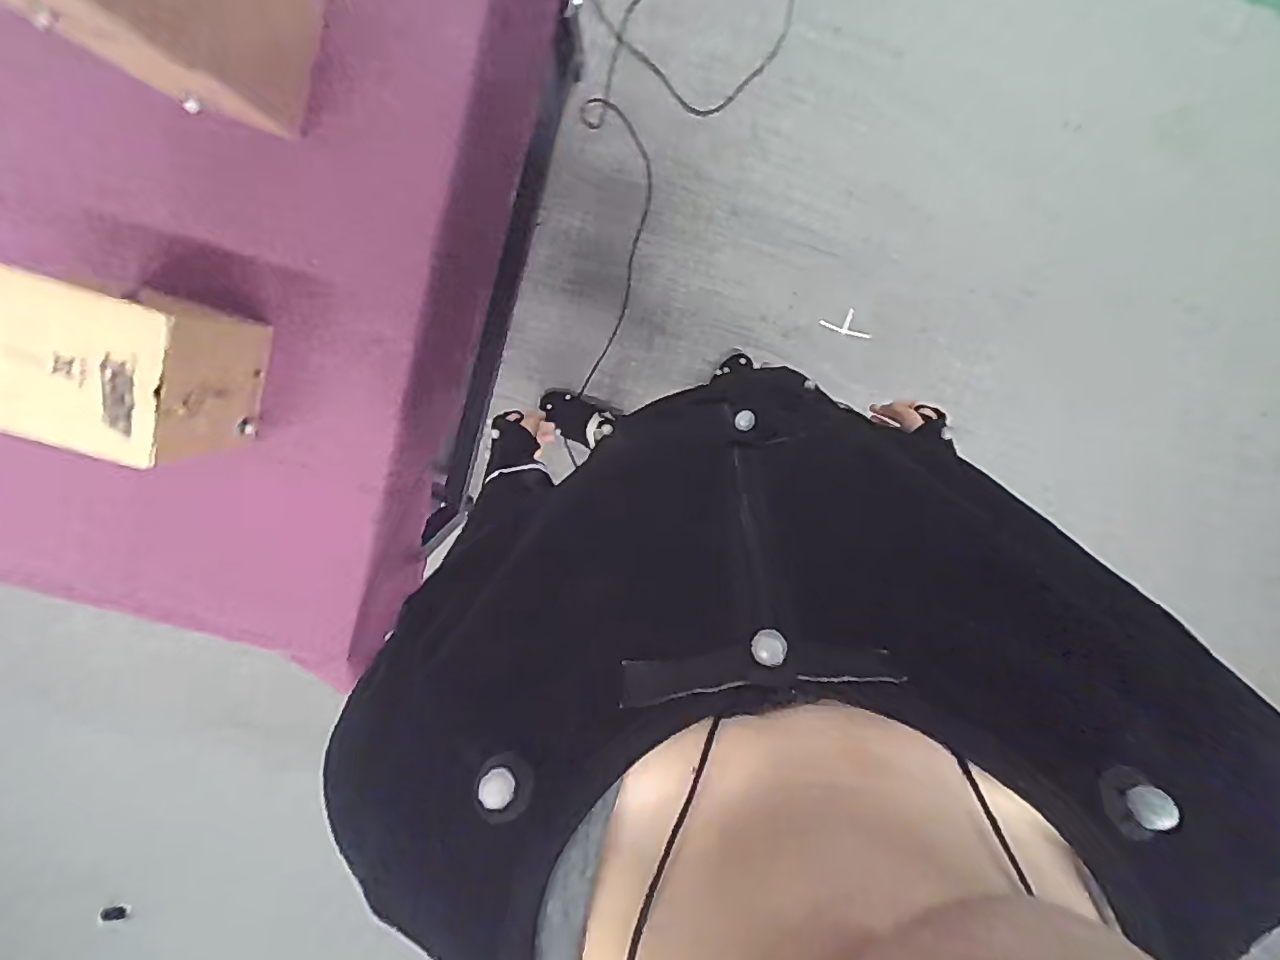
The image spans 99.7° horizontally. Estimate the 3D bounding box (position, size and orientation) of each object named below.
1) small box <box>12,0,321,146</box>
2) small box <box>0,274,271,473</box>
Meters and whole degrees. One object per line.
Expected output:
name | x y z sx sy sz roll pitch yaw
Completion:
small box | -0.464 -0.491 0.558 0.168 0.176 0.179 17 101 -5
small box | -0.577 -0.122 0.633 0.179 0.176 0.168 16 100 -4
